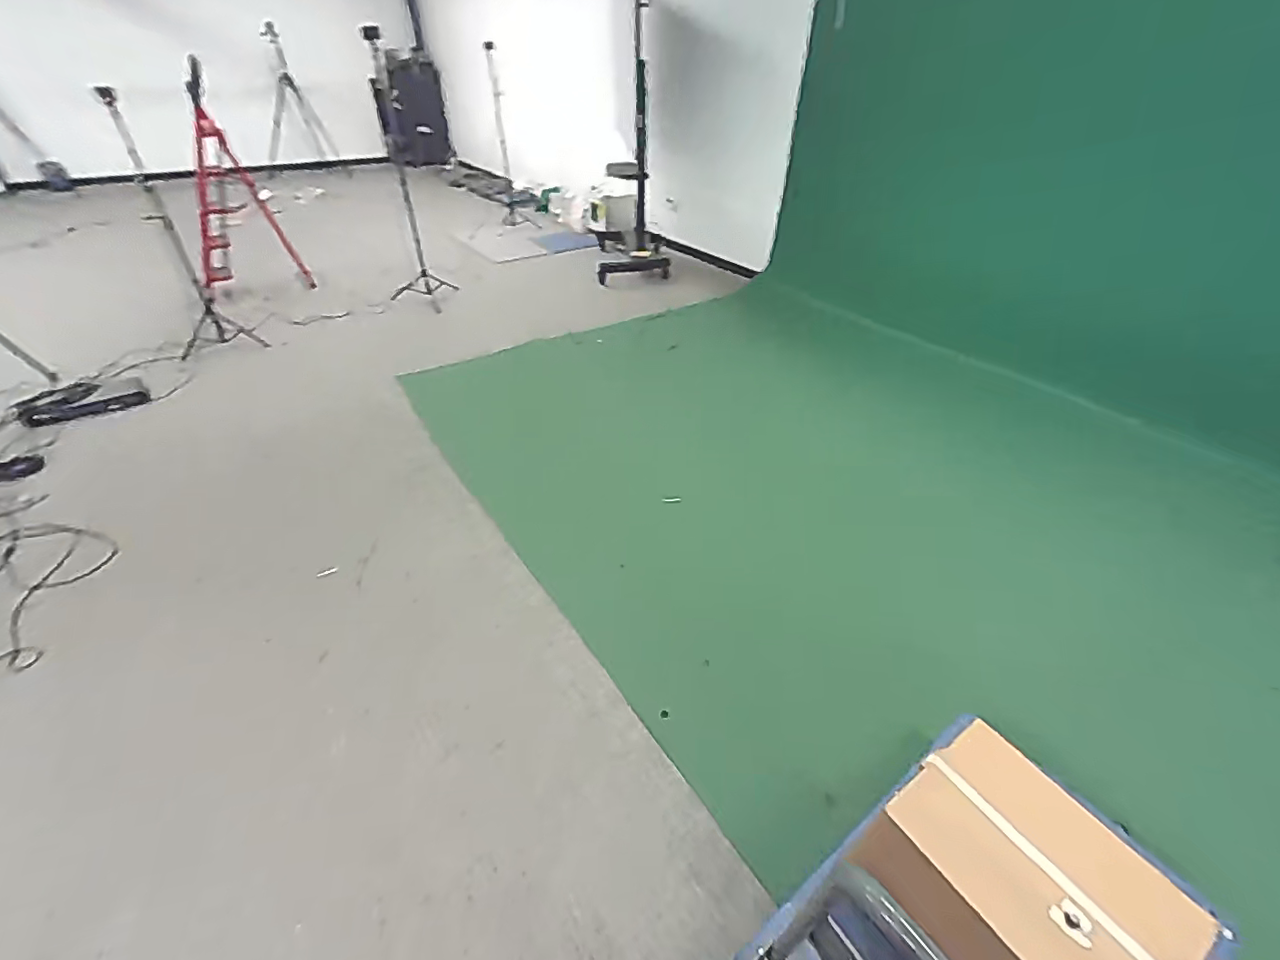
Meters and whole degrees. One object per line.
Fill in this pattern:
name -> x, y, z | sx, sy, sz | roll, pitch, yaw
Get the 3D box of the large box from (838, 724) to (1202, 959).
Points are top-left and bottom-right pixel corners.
large box -> 0.661, 0.769, 1.014 | 0.320, 0.320, 0.408 | -21, 44, -26
